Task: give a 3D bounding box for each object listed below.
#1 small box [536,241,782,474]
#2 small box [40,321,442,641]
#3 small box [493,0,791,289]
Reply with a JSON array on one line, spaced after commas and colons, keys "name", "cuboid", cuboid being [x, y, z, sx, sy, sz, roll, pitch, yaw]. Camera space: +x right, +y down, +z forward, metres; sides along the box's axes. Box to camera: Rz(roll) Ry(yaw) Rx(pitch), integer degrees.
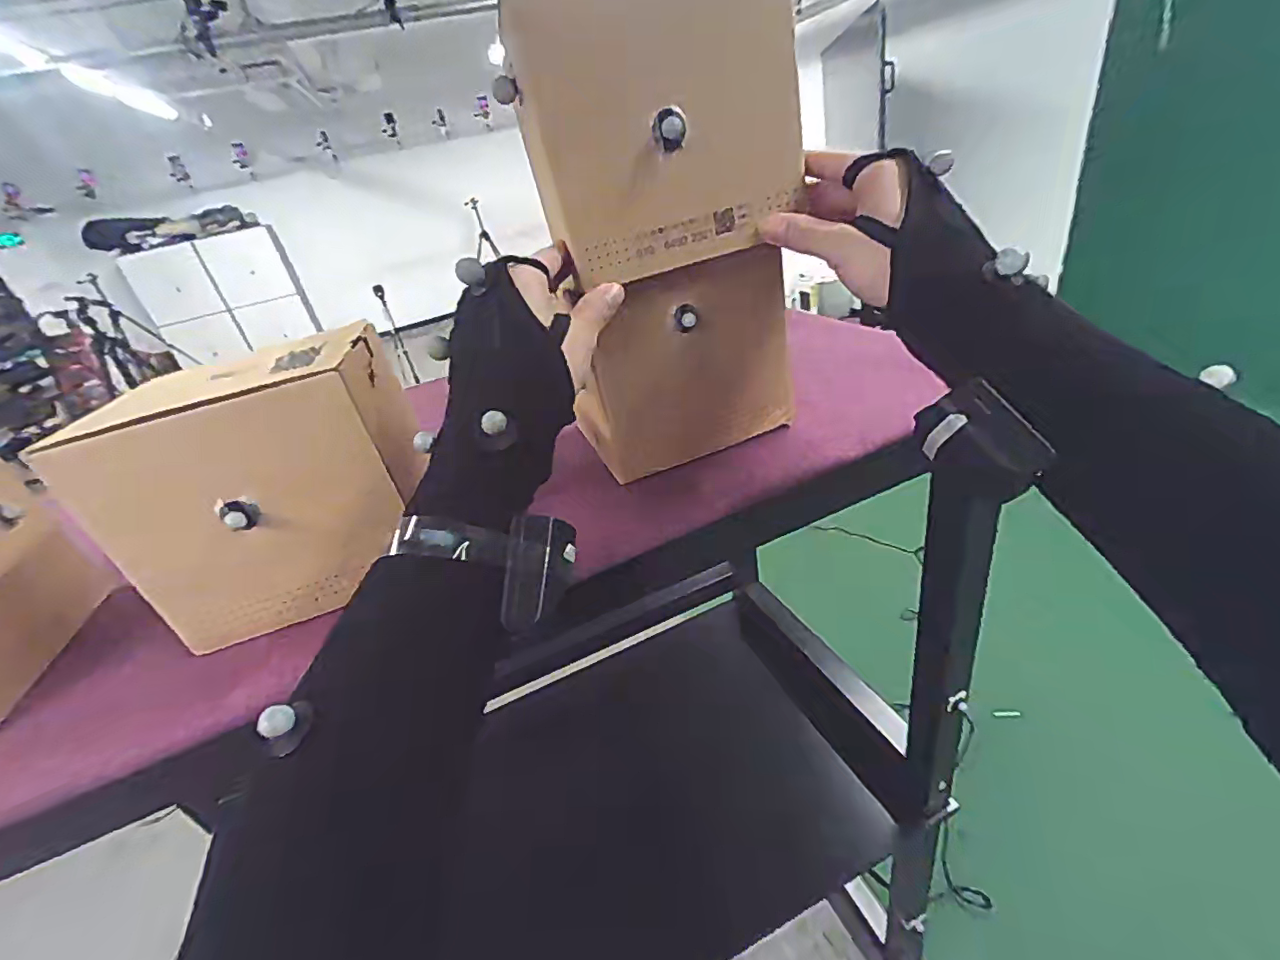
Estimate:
[{"name": "small box", "cuboid": [0.018, -0.126, 0.517, 0.179, 0.176, 0.168, -19, 30, -10]}, {"name": "small box", "cuboid": [-0.273, -0.008, 0.432, 0.179, 0.176, 0.168, -20, 30, -8]}, {"name": "small box", "cuboid": [0.001, -0.255, 0.408, 0.168, 0.176, 0.179, -17, 29, -4]}]
